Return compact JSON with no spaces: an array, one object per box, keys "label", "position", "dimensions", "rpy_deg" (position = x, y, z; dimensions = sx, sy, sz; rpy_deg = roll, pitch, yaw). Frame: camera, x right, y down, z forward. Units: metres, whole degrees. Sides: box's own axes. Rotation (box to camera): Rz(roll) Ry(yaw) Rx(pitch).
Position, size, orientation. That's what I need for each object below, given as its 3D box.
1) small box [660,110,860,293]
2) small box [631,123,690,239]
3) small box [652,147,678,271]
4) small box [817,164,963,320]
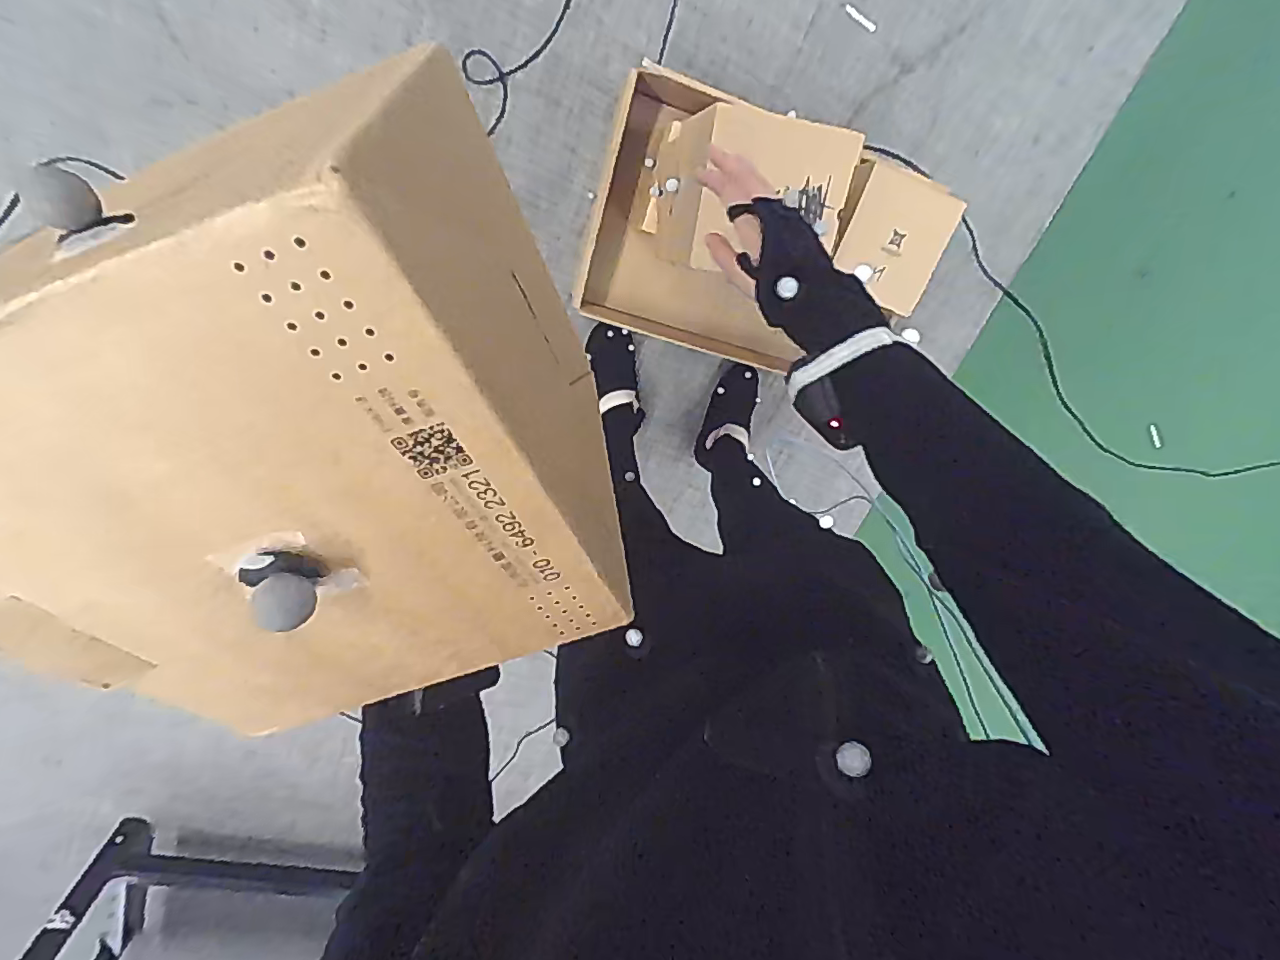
[{"label":"small box","position":[0.135,-0.343,0.681],"dimensions":[0.179,0.176,0.168],"rpy_deg":[3,115,-11]},{"label":"small box","position":[0.093,-0.502,0.964],"dimensions":[0.179,0.176,0.168],"rpy_deg":[12,114,-17]},{"label":"small box","position":[0.122,-0.415,0.828],"dimensions":[0.179,0.176,0.168],"rpy_deg":[-3,117,-8]},{"label":"small box","position":[0.365,-0.382,0.879],"dimensions":[0.168,0.176,0.179],"rpy_deg":[15,112,-14]}]
